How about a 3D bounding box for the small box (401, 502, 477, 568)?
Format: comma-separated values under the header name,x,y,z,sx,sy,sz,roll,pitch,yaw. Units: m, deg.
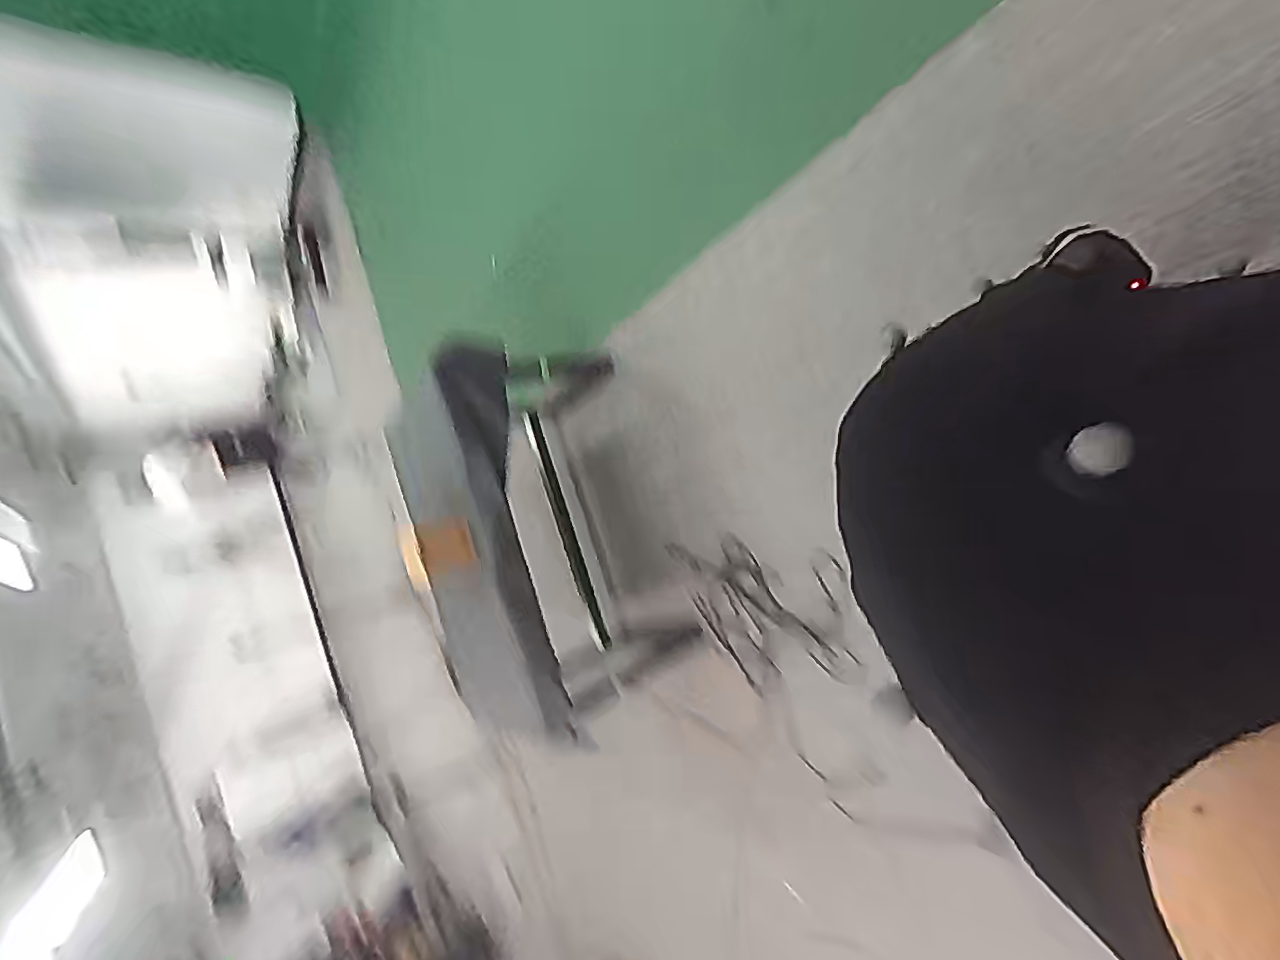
name,x,y,z,sx,sy,sz,roll,pitch,yaw
small box,-0.634,0.173,1.716,0.179,0.176,0.168,-16,89,52
